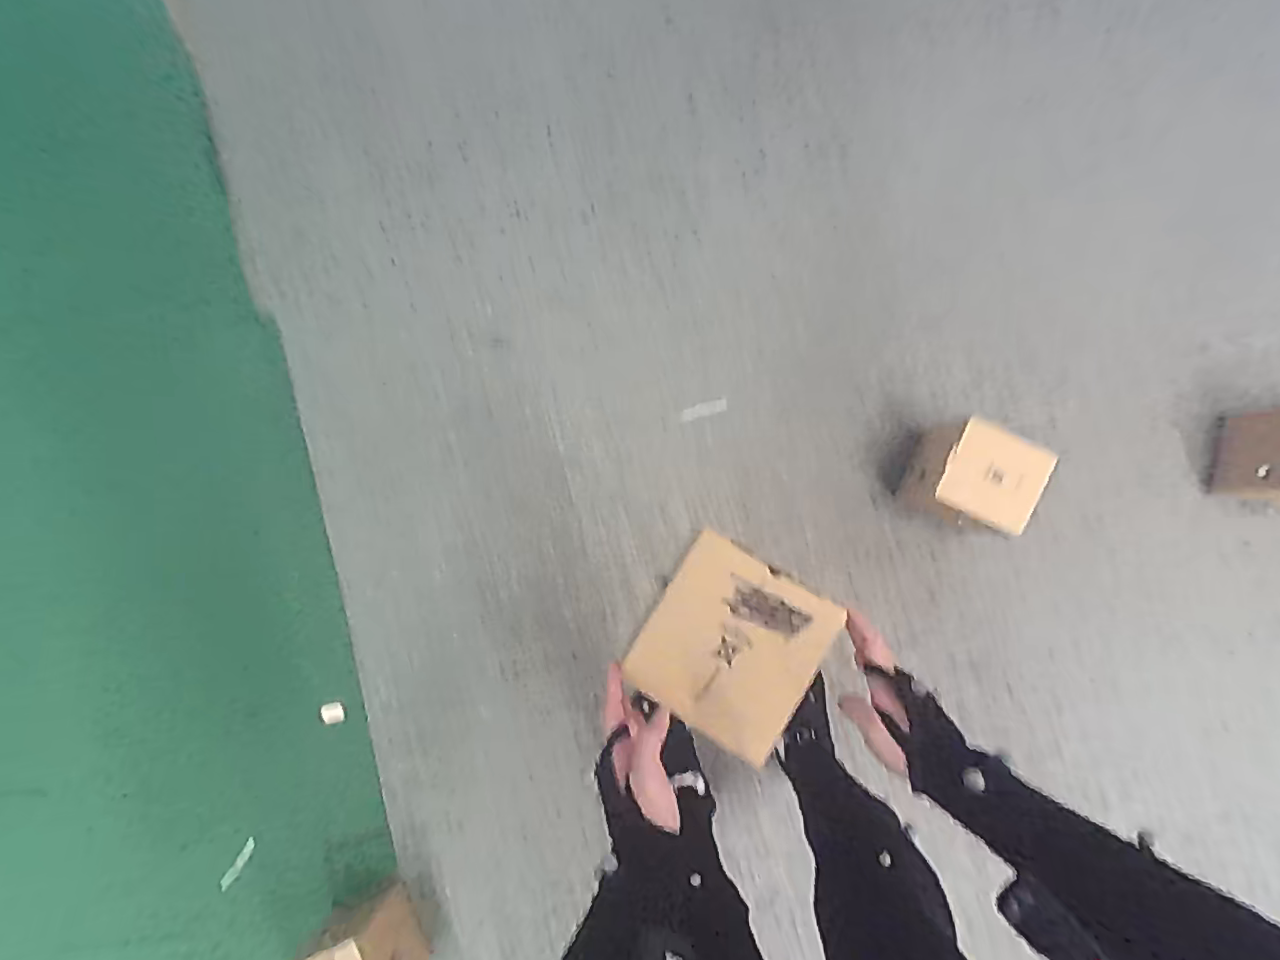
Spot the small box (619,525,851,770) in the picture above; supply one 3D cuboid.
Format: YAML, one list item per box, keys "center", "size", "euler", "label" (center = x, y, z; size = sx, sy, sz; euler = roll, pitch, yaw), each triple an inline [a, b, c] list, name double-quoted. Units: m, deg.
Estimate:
- center: [0.094, 0.166, 0.598]
  size: [0.168, 0.176, 0.179]
  euler: [32, 87, 7]
  label: "small box"

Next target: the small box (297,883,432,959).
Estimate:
- center: [-0.541, 0.956, 1.063]
  size: [0.168, 0.176, 0.179]
  euler: [-26, 85, 1]
  label: "small box"
